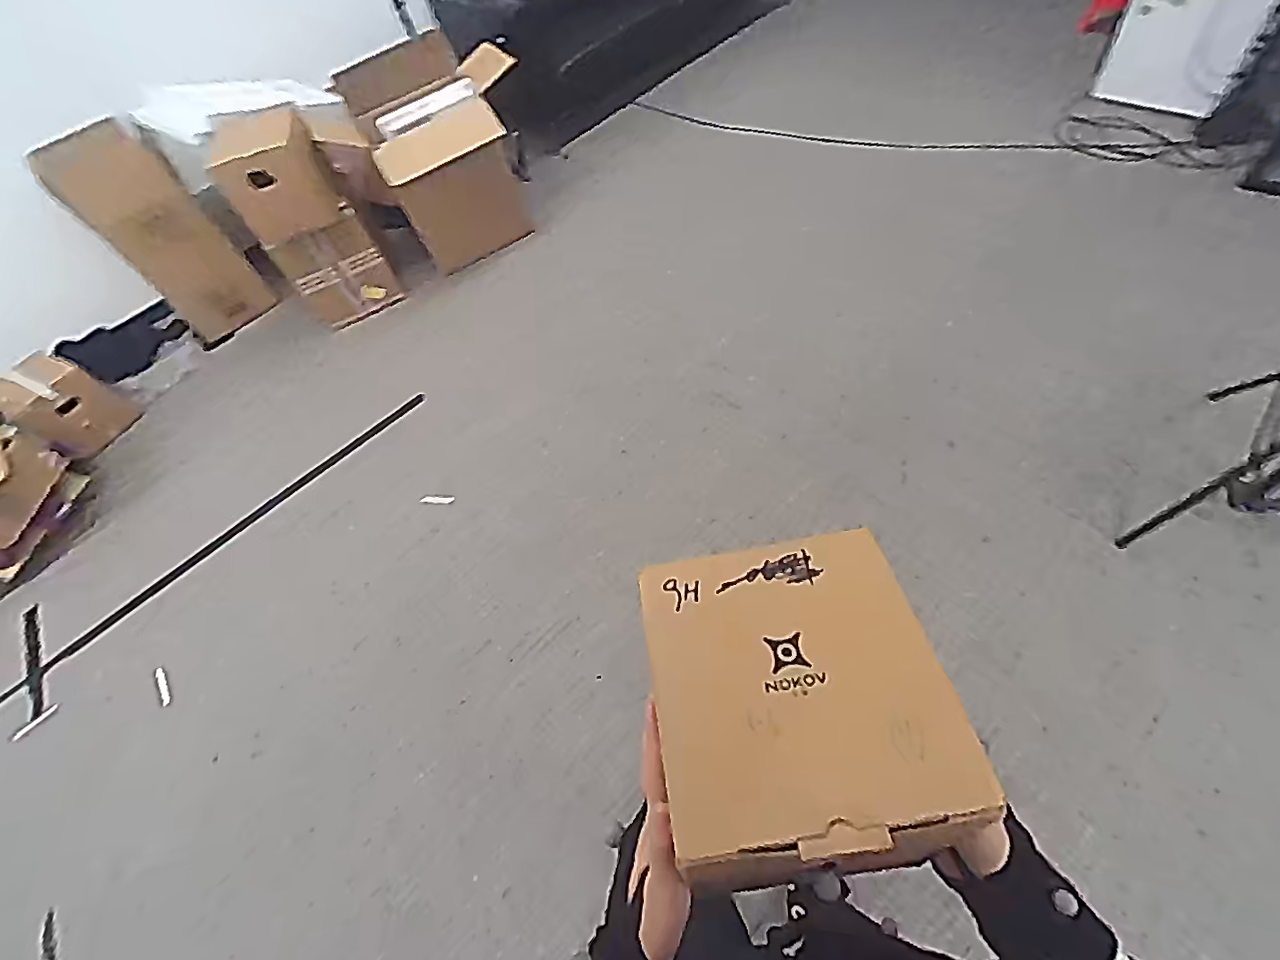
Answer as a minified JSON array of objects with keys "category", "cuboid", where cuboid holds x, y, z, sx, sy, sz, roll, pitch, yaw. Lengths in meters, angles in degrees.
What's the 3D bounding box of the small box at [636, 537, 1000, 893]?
[{"category":"small box","cuboid":[0.098,0.169,0.377,0.168,0.176,0.179,-10,48,1]}]
